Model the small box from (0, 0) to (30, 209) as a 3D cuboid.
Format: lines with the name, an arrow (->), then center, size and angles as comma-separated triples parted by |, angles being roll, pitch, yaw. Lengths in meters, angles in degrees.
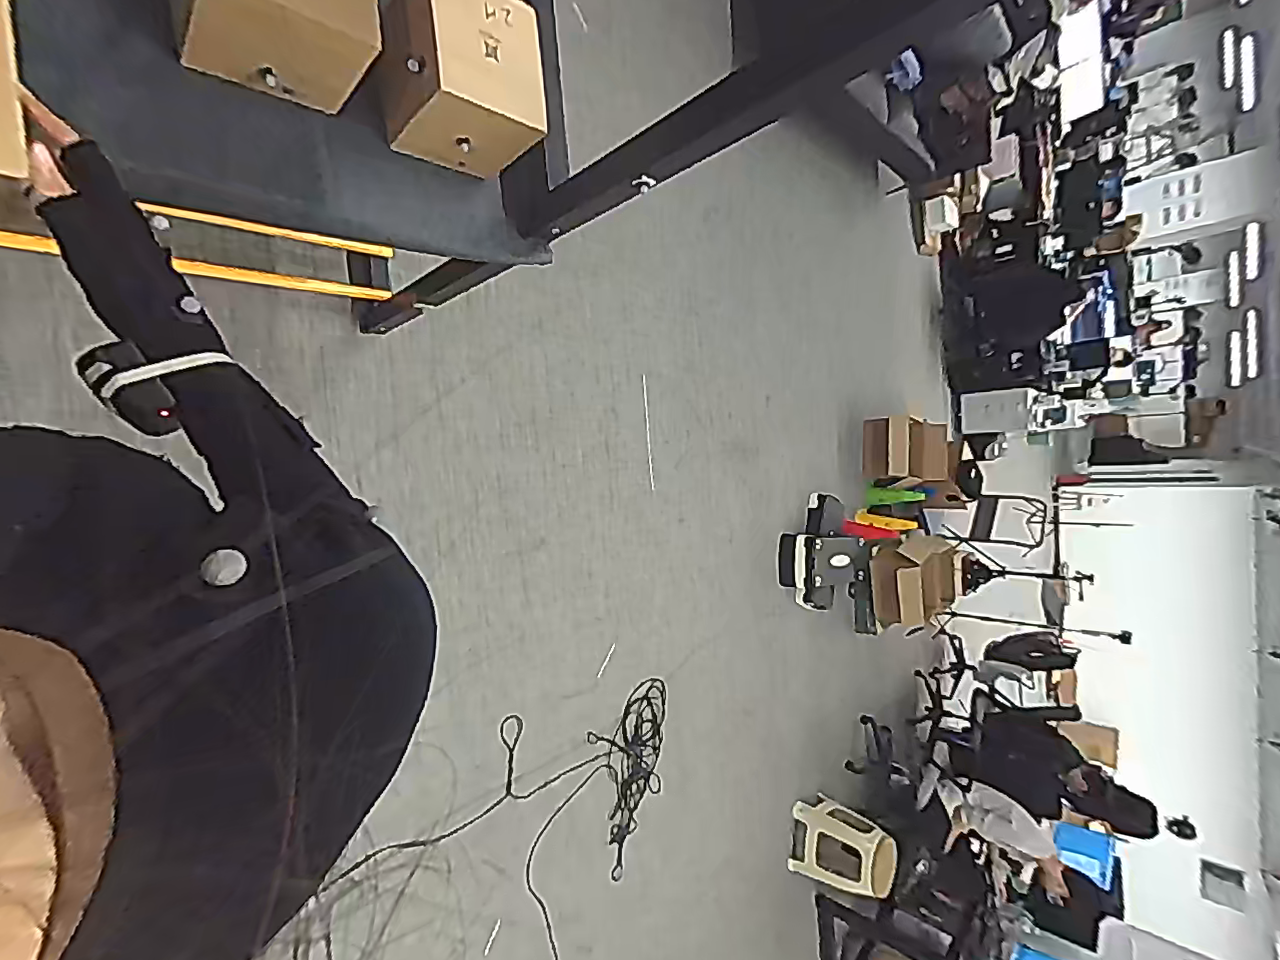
small box -> -0.480, -0.277, 0.307 | 0.168, 0.176, 0.179 | -9, 103, -48

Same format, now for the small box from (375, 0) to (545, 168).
small box -> -0.260, -0.586, 0.778 | 0.168, 0.176, 0.179 | -10, 96, -46
